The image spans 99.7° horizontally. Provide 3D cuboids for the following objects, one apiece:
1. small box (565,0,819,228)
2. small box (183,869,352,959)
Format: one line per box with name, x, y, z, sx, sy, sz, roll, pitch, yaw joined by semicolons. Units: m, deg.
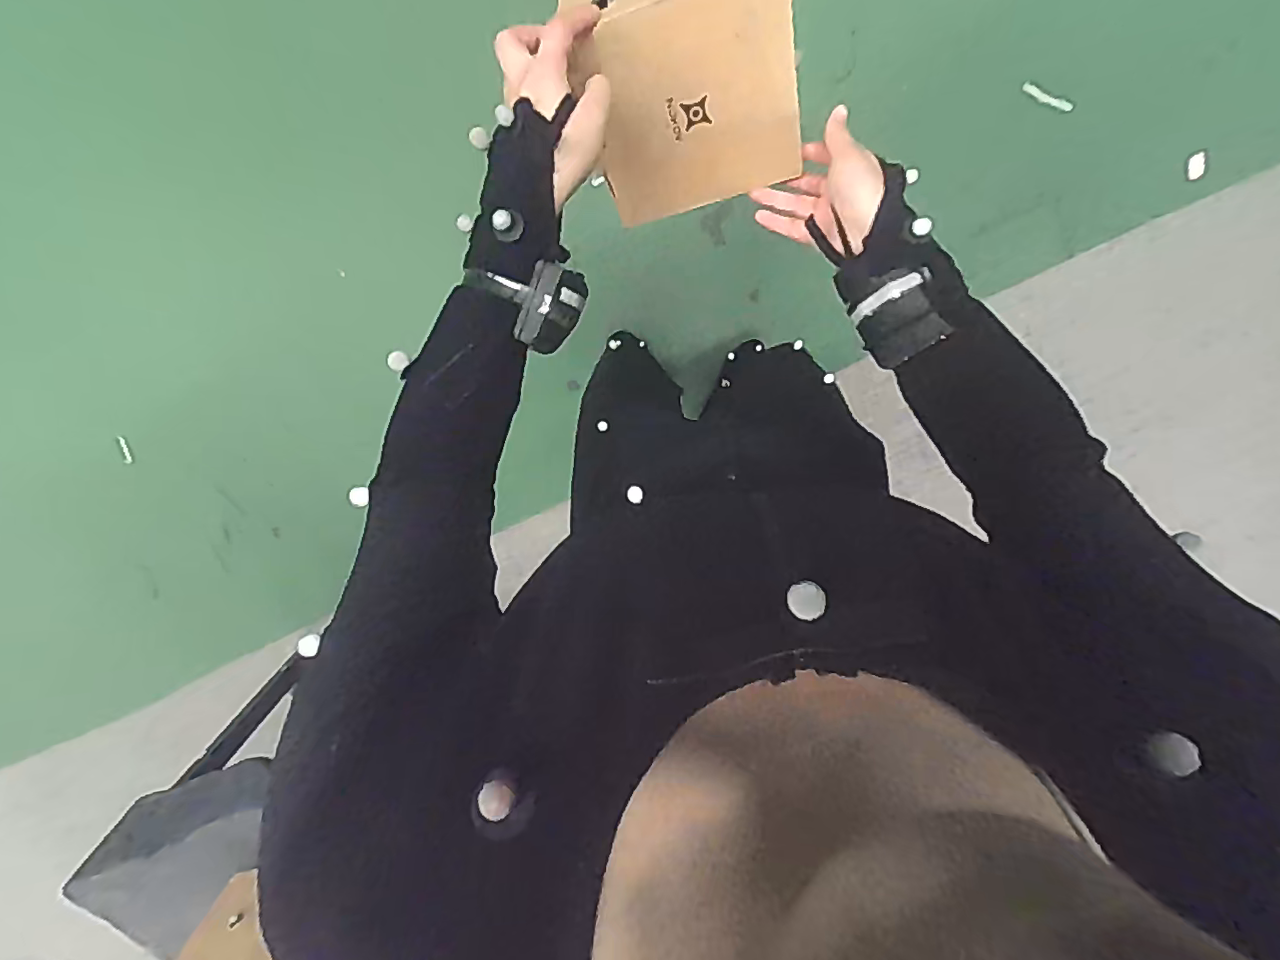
small box;0.048;-0.366;0.473;0.179;0.176;0.168;-11;149;16
small box;-0.650;0.822;0.939;0.179;0.176;0.168;-20;111;11
